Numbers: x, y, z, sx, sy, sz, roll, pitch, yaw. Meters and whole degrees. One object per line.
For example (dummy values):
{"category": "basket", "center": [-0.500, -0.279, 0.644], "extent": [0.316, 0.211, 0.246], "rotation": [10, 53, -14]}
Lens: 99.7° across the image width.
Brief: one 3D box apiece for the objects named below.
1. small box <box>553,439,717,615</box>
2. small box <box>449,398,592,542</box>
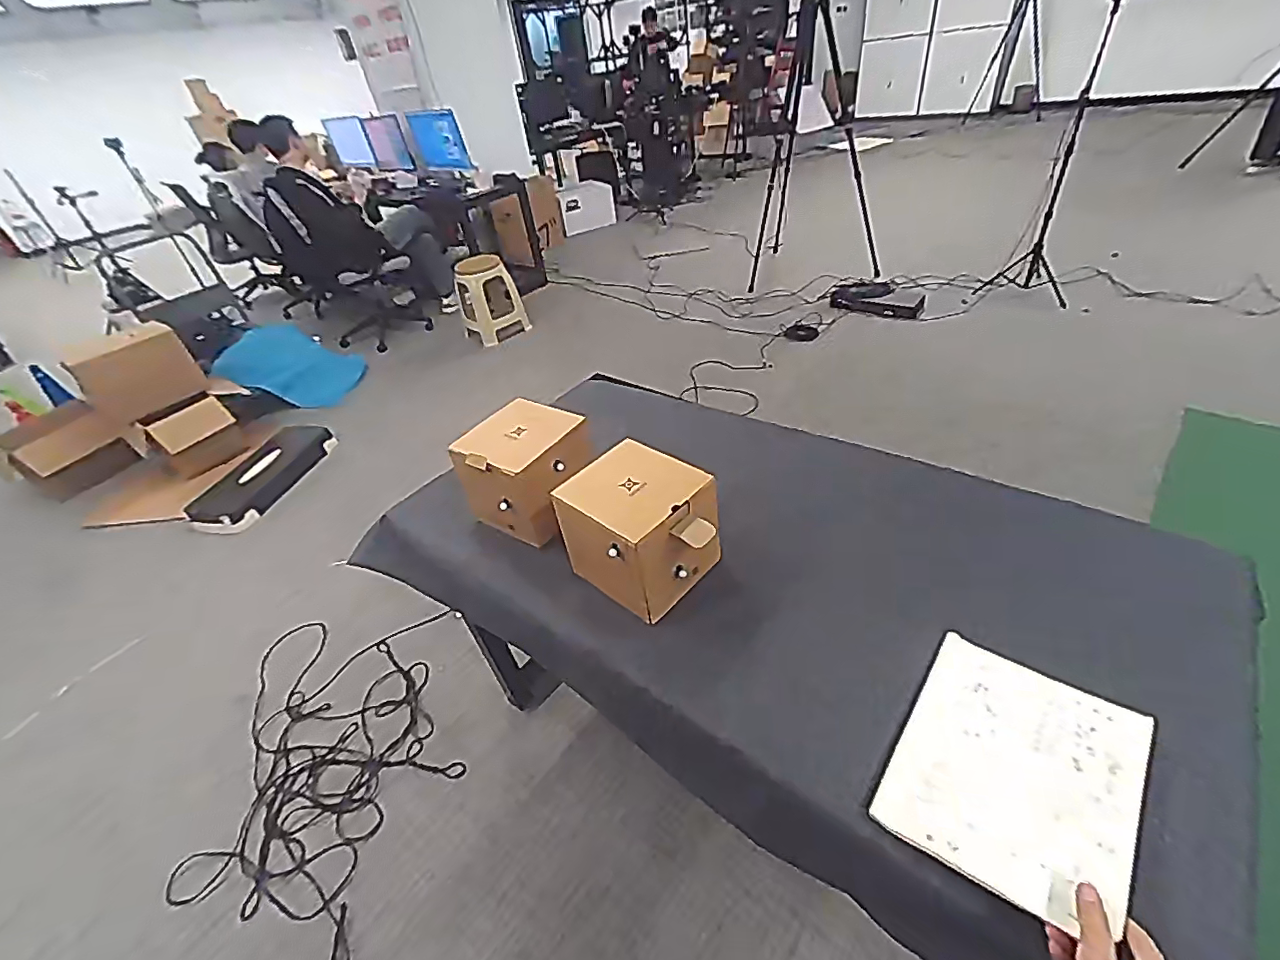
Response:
{"category": "small box", "center": [-0.001, 0.068, 0.811], "extent": [0.179, 0.176, 0.168], "rotation": [26, 50, 36]}
{"category": "small box", "center": [-0.196, -0.018, 0.959], "extent": [0.168, 0.176, 0.179], "rotation": [19, 45, 29]}
